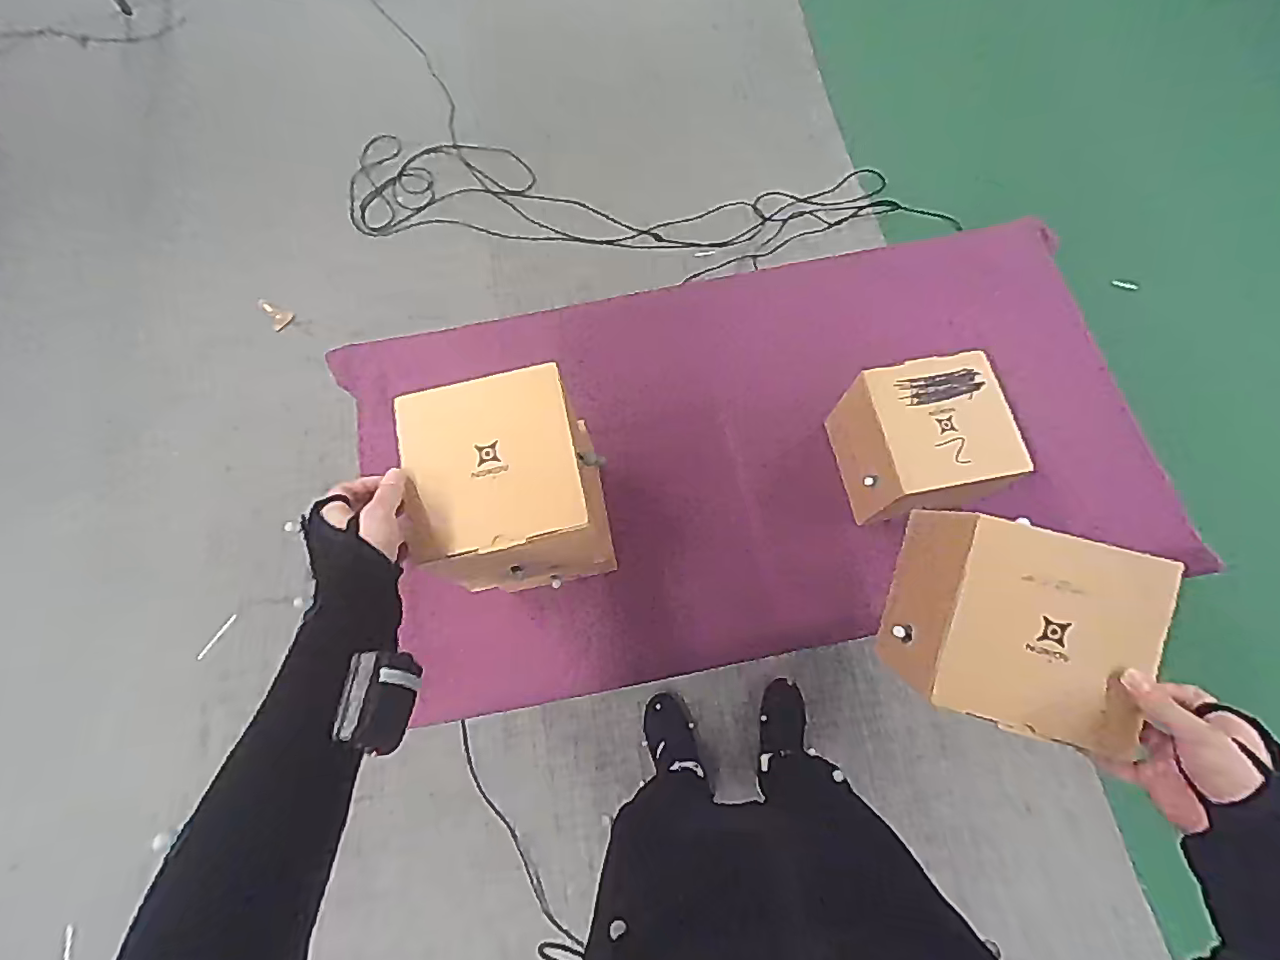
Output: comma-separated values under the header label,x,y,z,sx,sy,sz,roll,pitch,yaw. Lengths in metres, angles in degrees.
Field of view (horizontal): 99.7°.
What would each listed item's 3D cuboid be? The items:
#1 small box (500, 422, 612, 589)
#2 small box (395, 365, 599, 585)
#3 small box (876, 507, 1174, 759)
label,x,y,z,sx,sy,sz,roll,pitch,yaw
small box,-0.137,0.043,0.753,0.168,0.176,0.179,-11,72,-1
small box,-0.146,0.004,0.594,0.168,0.176,0.179,-13,72,-3
small box,0.354,0.131,0.538,0.168,0.176,0.179,15,90,8
